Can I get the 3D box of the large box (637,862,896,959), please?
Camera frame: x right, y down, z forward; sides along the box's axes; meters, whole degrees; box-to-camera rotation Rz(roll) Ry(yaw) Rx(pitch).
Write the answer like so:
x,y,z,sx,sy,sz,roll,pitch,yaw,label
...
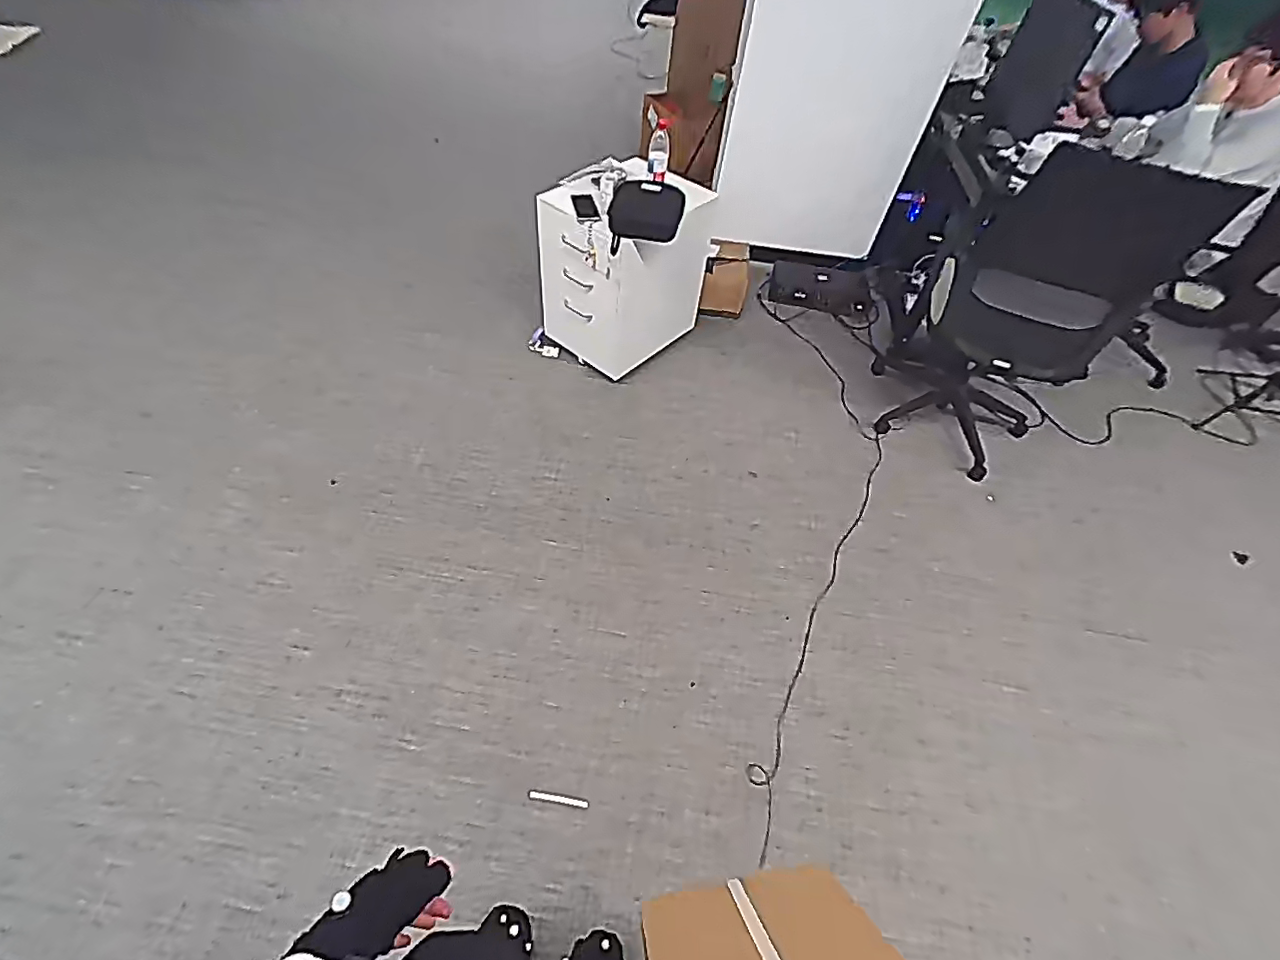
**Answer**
x,y,z,sx,sy,sz,roll,pitch,yaw,label
0.187,0.771,0.674,0.320,0.408,0.320,-7,82,-8,large box
